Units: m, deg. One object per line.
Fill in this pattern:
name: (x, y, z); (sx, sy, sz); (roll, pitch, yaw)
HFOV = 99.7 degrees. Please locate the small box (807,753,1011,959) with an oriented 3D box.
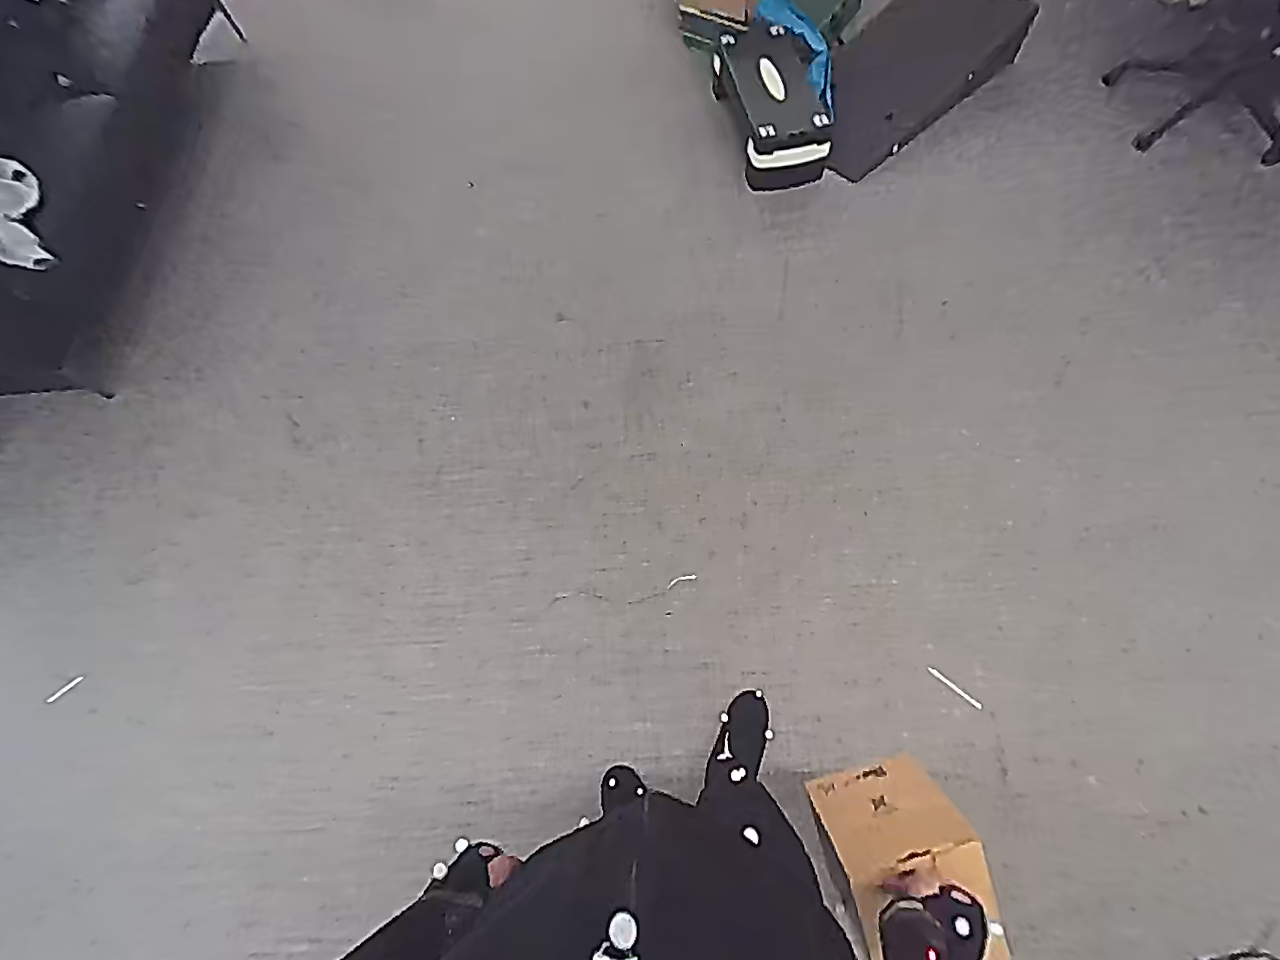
small box: (0.355, 0.520, 0.732); (0.168, 0.179, 0.176); (-19, 96, 0)
